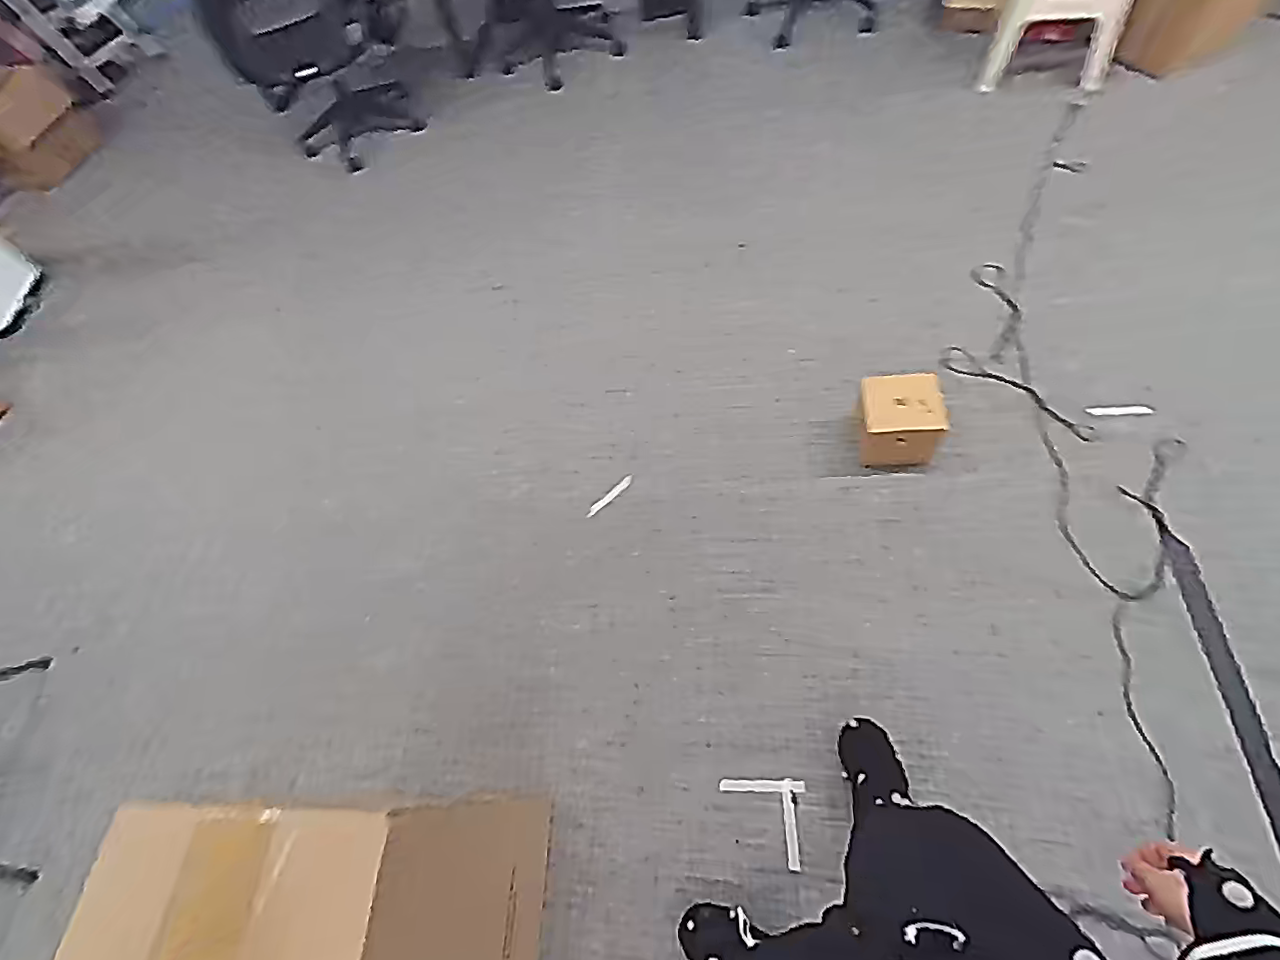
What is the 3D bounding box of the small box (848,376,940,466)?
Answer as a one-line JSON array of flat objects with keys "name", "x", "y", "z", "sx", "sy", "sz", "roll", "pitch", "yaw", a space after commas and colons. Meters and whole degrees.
[{"name": "small box", "x": 0.637, "y": -0.144, "z": 1.382, "sx": 0.179, "sy": 0.176, "sz": 0.168, "roll": -2, "pitch": 63, "yaw": 11}]
